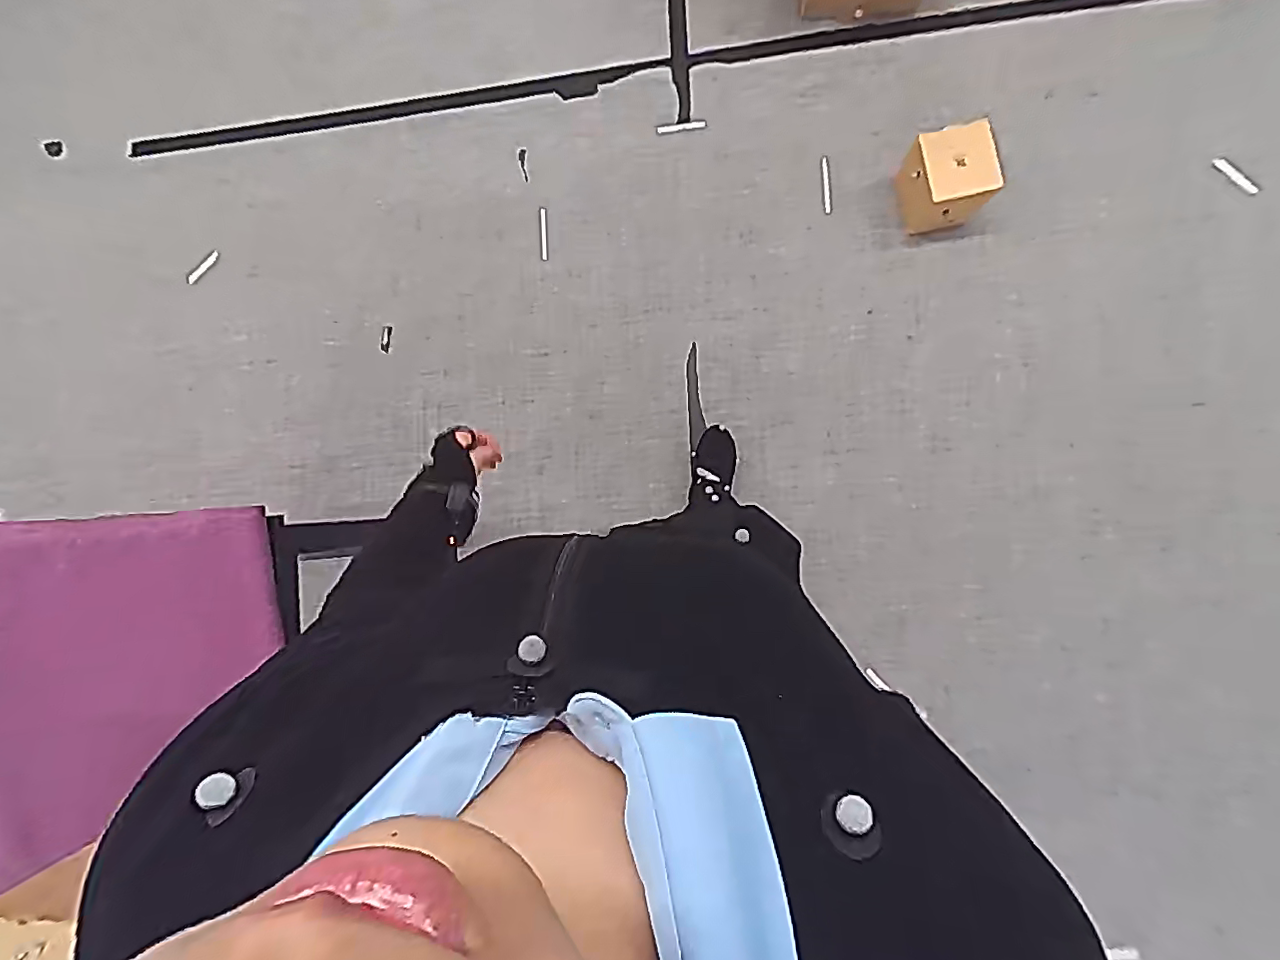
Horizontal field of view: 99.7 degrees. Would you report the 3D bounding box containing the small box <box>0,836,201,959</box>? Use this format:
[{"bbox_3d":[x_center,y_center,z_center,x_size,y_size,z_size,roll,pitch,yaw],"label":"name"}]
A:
[{"bbox_3d":[-0.735,0.619,0.723,0.168,0.176,0.179,-1,86,6],"label":"small box"}]

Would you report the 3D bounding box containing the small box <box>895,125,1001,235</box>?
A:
[{"bbox_3d":[0.778,-0.753,1.381,0.168,0.176,0.179,-11,85,5],"label":"small box"}]
